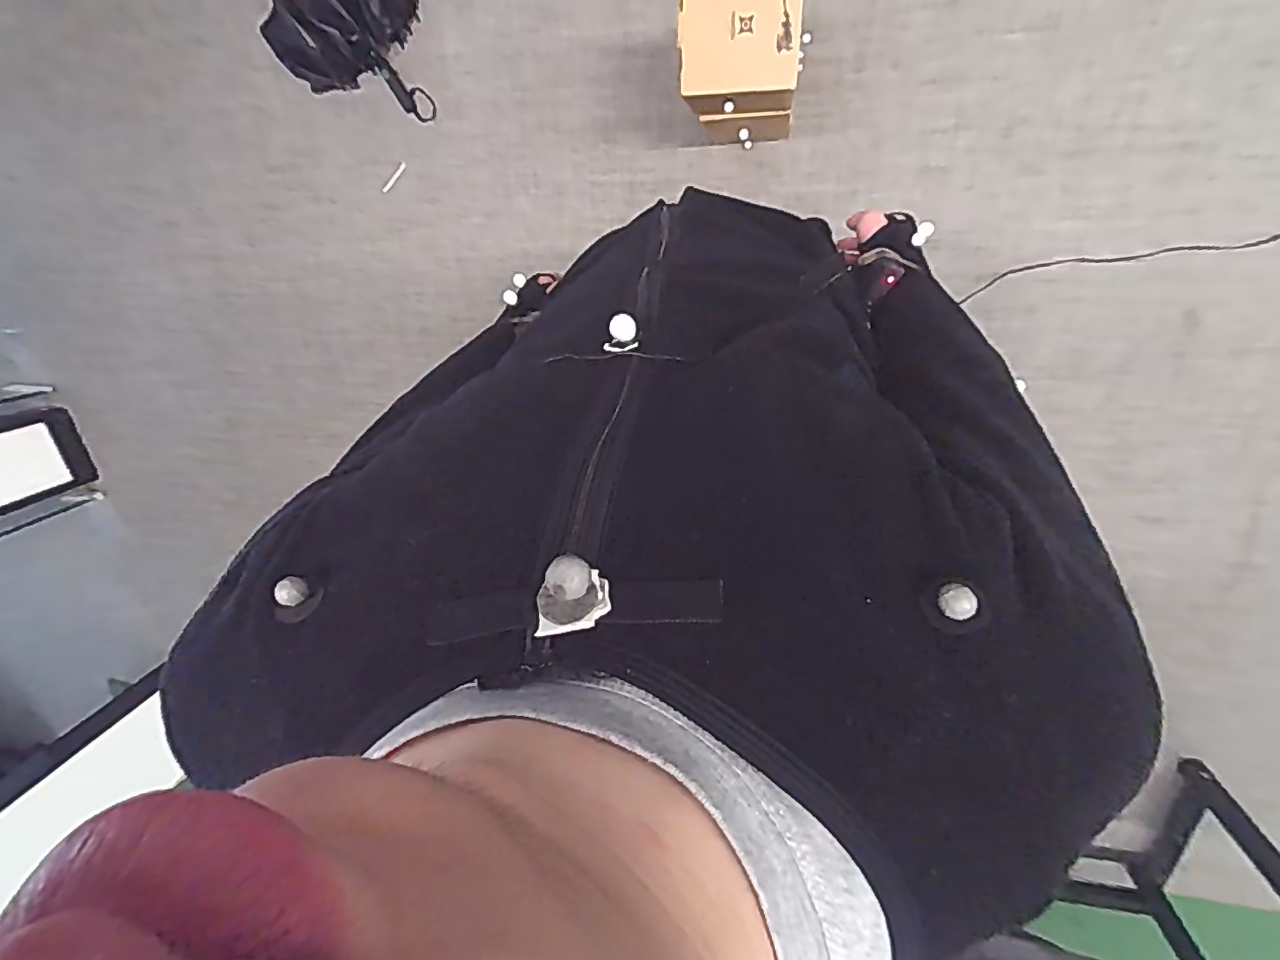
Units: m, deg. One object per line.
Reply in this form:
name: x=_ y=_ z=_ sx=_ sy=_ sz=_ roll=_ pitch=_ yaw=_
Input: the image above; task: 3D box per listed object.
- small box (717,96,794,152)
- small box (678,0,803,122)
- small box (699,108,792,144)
small box: x=0.241 y=-0.816 z=1.149 sx=0.168 sy=0.176 sz=0.179 roll=2 pitch=115 yaw=13
small box: x=0.161 y=-0.683 z=0.860 sx=0.179 sy=0.176 sz=0.168 roll=5 pitch=115 yaw=12
small box: x=0.200 y=-0.746 z=1.006 sx=0.168 sy=0.176 sz=0.179 roll=3 pitch=115 yaw=12
